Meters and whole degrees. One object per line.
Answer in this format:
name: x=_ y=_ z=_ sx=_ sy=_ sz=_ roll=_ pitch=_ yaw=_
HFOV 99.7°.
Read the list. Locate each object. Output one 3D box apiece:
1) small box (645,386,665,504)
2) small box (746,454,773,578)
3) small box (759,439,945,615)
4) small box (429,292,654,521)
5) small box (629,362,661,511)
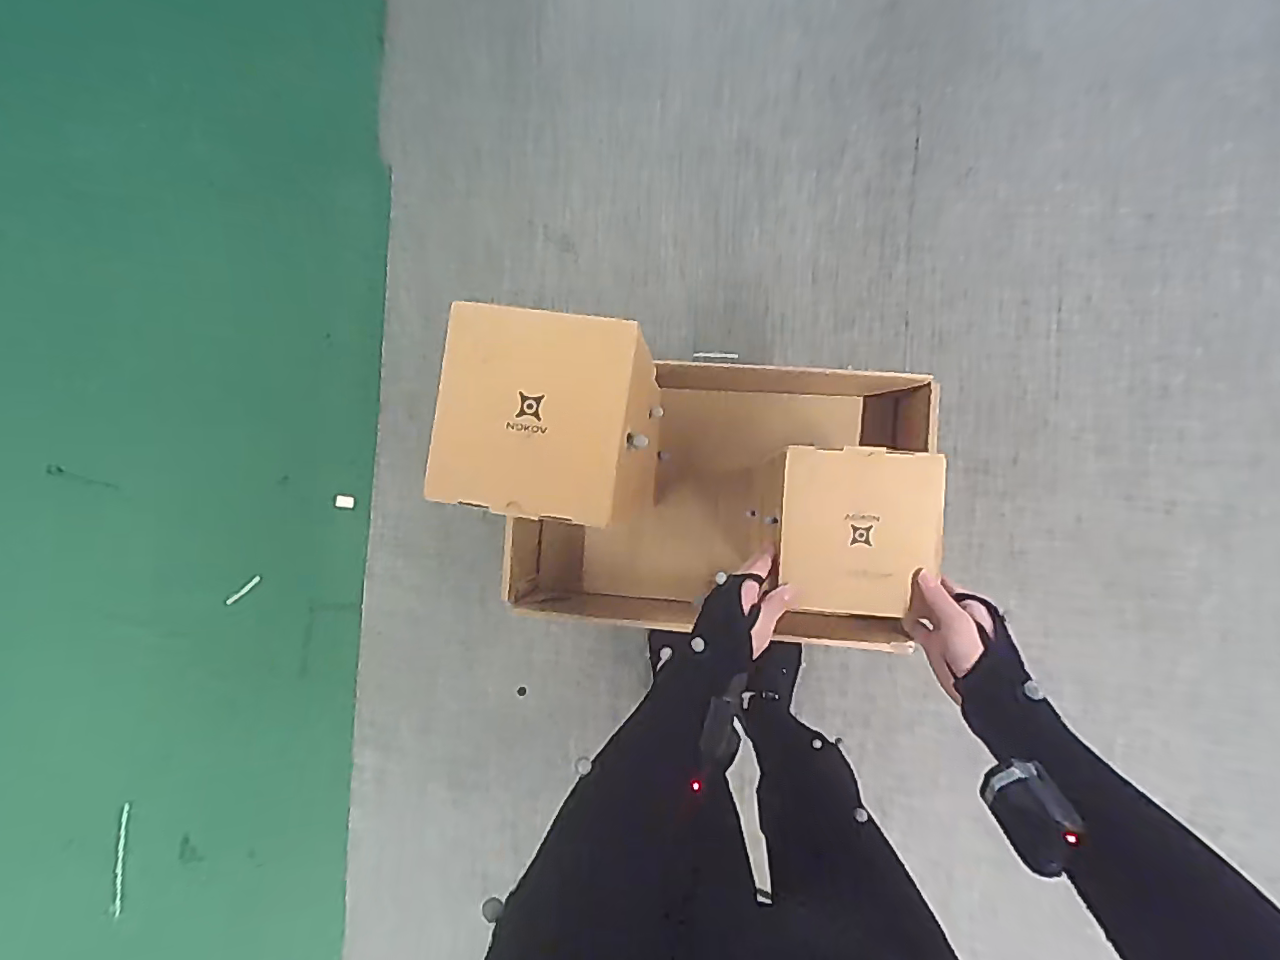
small box: x=-0.051 y=-0.057 z=0.861 sx=0.168 sy=0.176 sz=0.179 roll=5 pitch=90 yaw=7
small box: x=0.255 y=0.057 z=0.825 sx=0.168 sy=0.176 sz=0.179 roll=4 pitch=88 yaw=6
small box: x=0.239 y=0.051 z=0.650 sx=0.168 sy=0.176 sz=0.179 roll=4 pitch=89 yaw=5
small box: x=-0.081 y=-0.063 z=0.537 sx=0.168 sy=0.176 sz=0.179 roll=9 pitch=91 yaw=6
small box: x=-0.067 y=-0.060 z=0.698 sx=0.168 sy=0.176 sz=0.179 roll=8 pitch=90 yaw=7
